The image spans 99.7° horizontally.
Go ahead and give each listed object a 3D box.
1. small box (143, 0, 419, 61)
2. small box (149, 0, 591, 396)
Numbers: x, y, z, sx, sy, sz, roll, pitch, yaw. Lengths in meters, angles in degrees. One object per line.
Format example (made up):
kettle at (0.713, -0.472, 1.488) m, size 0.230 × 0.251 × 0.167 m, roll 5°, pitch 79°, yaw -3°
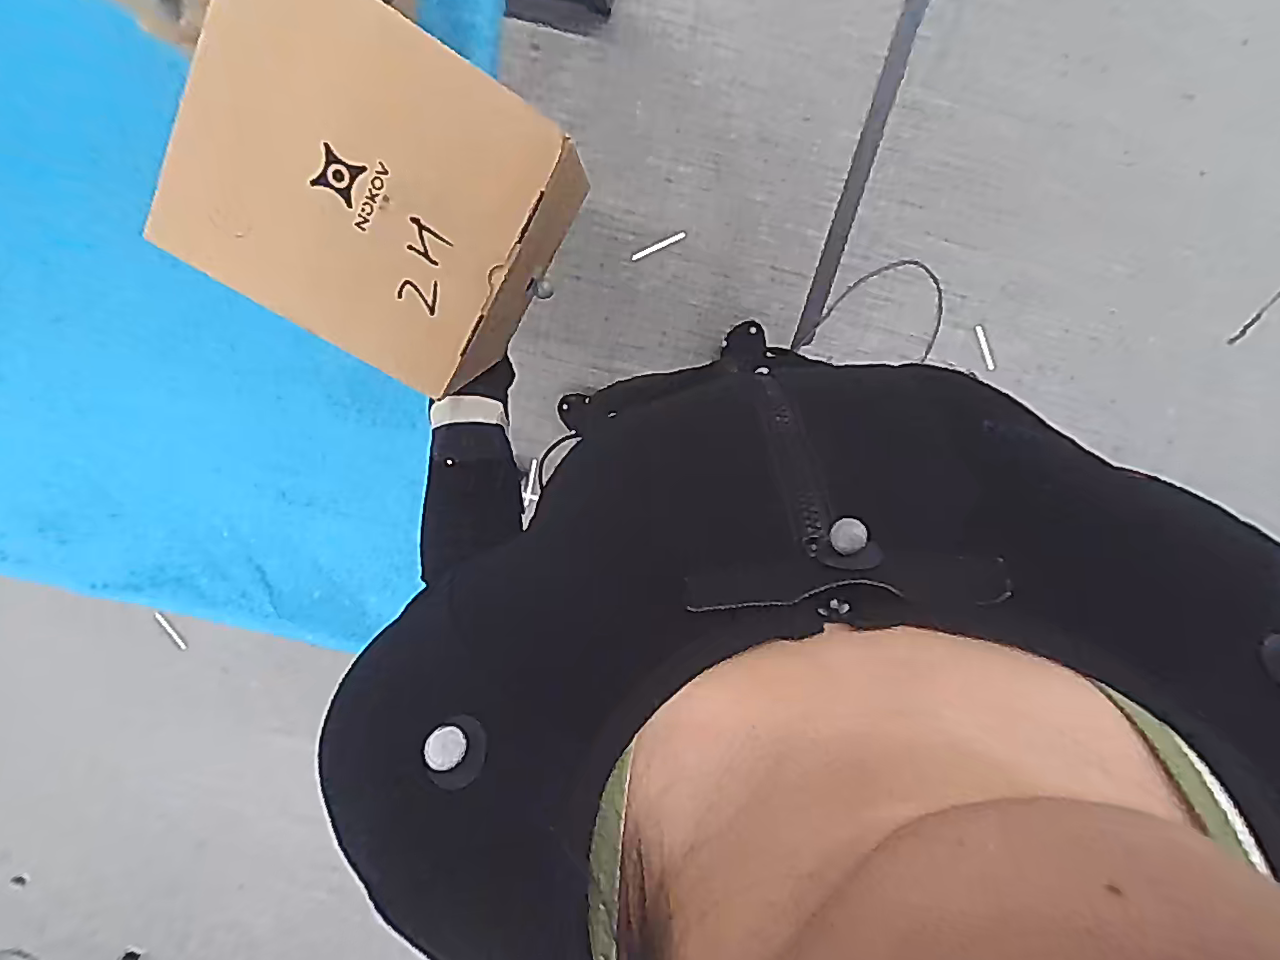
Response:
small box at (-0.335, -0.480, 0.529) m, size 0.168 × 0.176 × 0.179 m, roll 13°, pitch 107°, yaw -1°
small box at (-0.149, -0.186, 0.361) m, size 0.179 × 0.176 × 0.168 m, roll 34°, pitch 108°, yaw -15°
